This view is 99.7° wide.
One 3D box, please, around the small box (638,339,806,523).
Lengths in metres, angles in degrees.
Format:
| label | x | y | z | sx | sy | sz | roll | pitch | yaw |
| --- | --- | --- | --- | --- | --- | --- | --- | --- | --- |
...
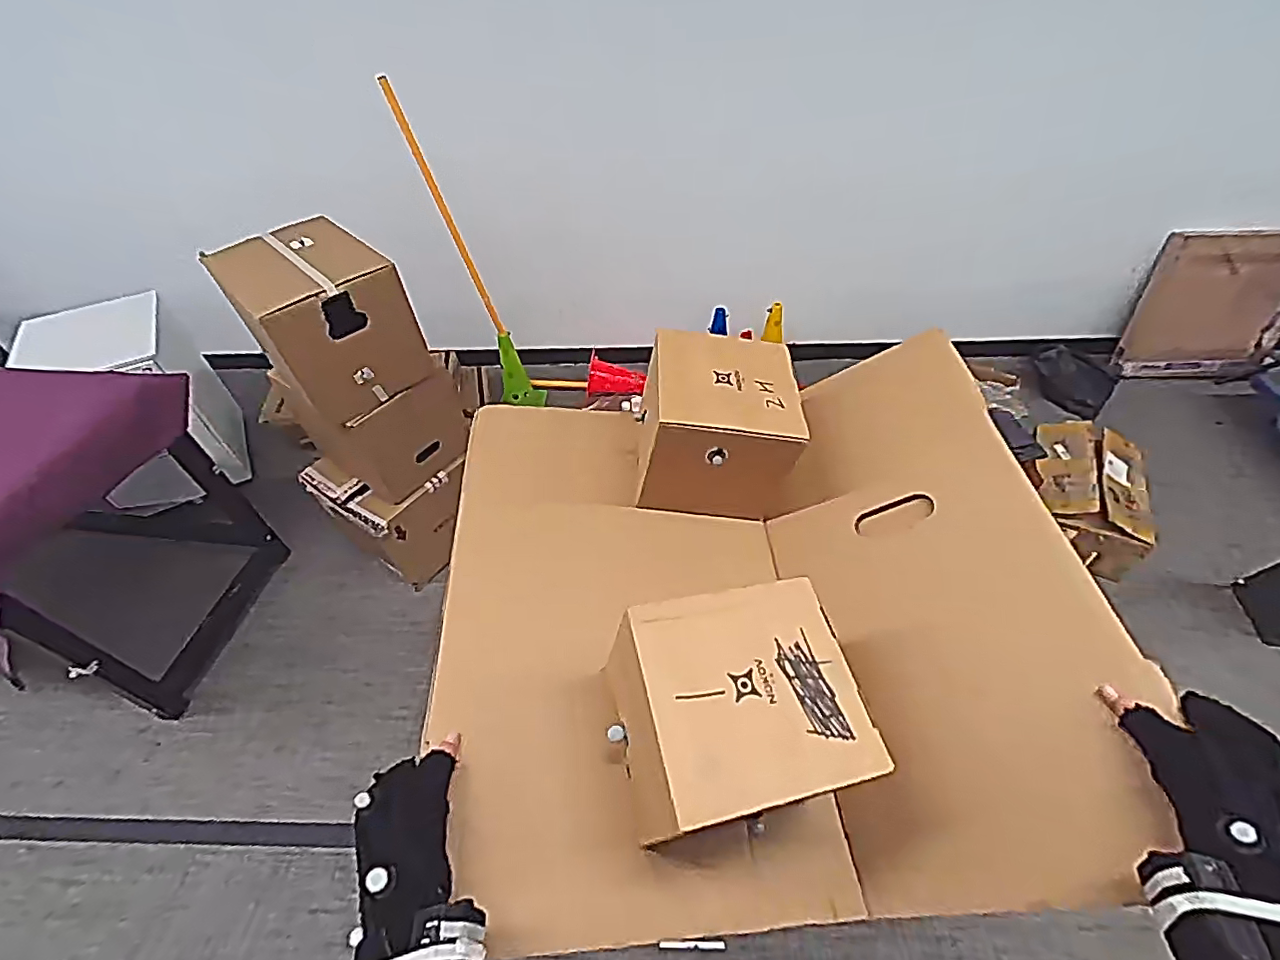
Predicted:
| label | x | y | z | sx | sy | sz | roll | pitch | yaw |
| --- | --- | --- | --- | --- | --- | --- | --- | --- | --- |
| small box | 0.094 | -0.059 | 0.715 | 0.179 | 0.176 | 0.168 | 7 | 52 | -7 |

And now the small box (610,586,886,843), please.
| label | x | y | z | sx | sy | sz | roll | pitch | yaw |
| --- | --- | --- | --- | --- | --- | --- | --- | --- | --- |
| small box | 0.079 | 0.217 | 0.501 | 0.179 | 0.176 | 0.168 | -6 | 55 | -15 |
